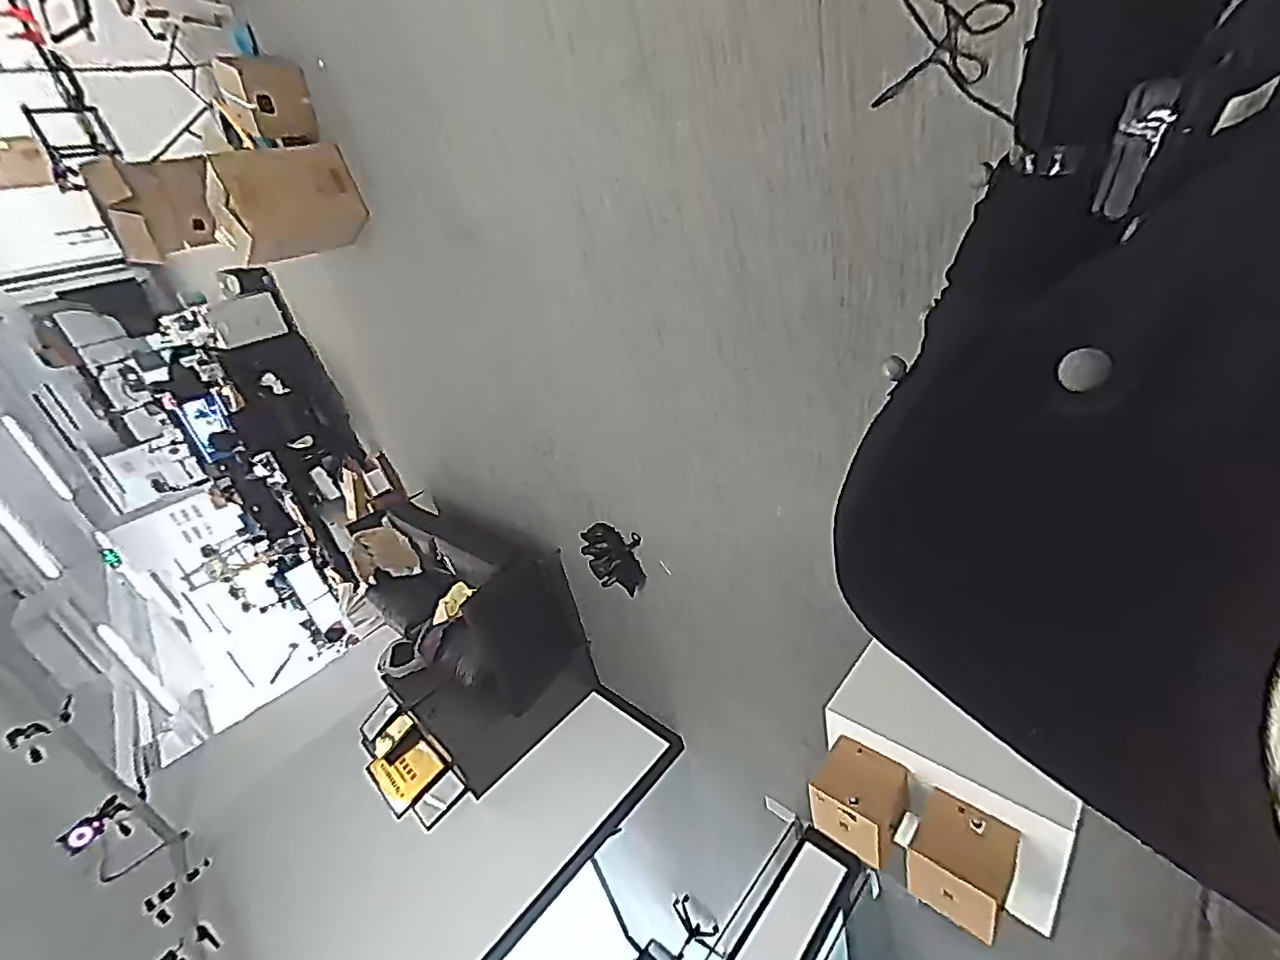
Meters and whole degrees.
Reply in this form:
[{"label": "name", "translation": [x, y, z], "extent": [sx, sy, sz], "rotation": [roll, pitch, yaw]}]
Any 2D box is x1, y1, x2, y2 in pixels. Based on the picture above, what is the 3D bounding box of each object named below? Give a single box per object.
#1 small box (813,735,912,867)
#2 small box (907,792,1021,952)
[{"label": "small box", "translation": [0.537, 0.761, 1.296], "extent": [0.168, 0.176, 0.179], "rotation": [14, 129, 44]}, {"label": "small box", "translation": [0.683, 0.815, 1.140], "extent": [0.168, 0.176, 0.179], "rotation": [12, 124, 45]}]
